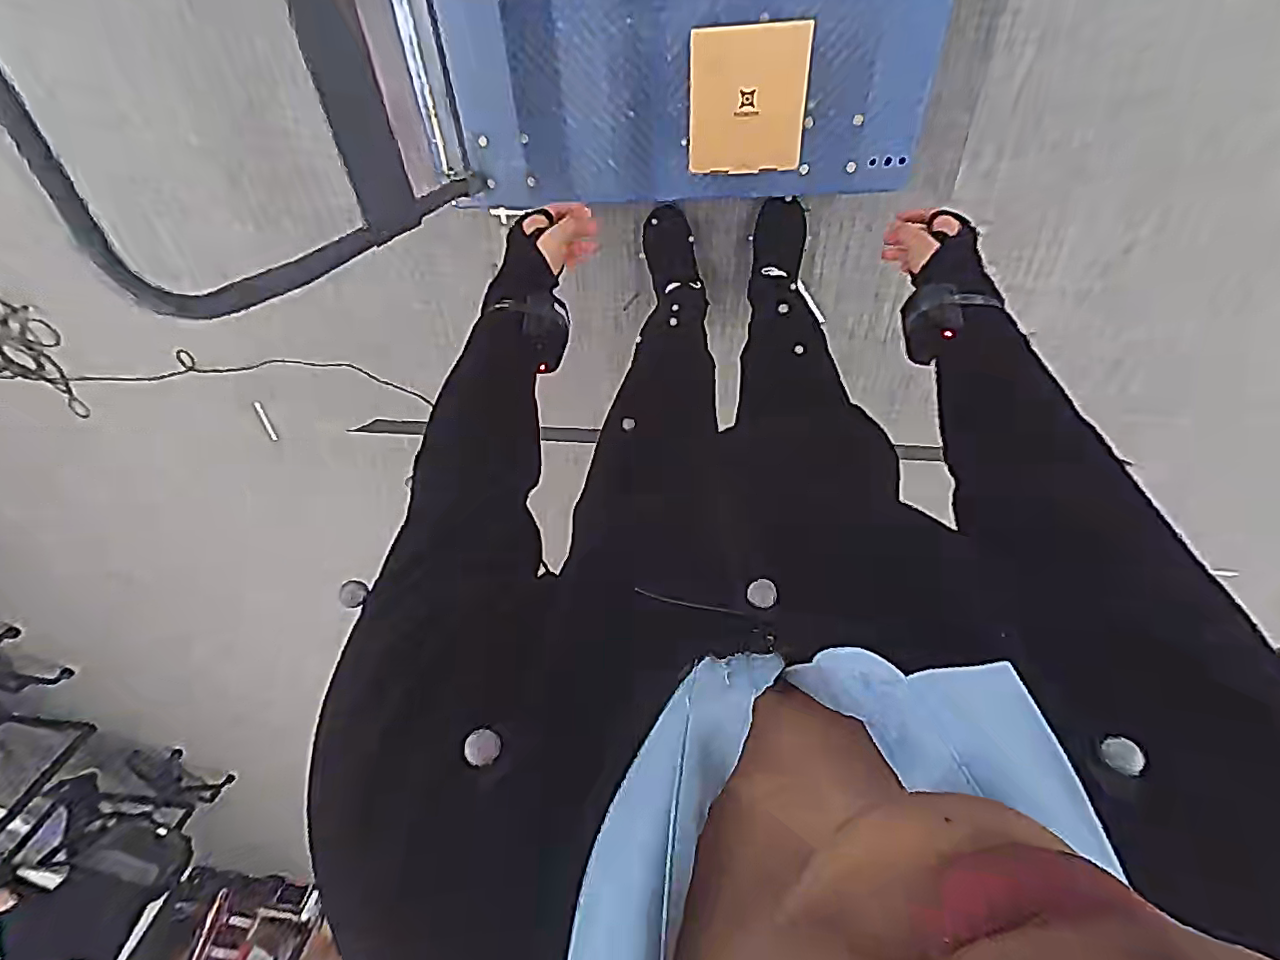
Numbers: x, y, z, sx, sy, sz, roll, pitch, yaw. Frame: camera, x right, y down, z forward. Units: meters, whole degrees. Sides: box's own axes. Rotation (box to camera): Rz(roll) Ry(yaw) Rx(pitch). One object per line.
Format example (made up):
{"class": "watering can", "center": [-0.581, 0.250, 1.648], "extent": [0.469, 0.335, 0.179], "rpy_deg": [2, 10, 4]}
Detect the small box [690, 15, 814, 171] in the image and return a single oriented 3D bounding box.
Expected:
{"class": "small box", "center": [0.161, -0.590, 0.831], "extent": [0.168, 0.176, 0.179], "rpy_deg": [1, 128, 7]}

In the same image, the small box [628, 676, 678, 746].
{"class": "small box", "center": [0.050, 0.863, 2.025], "extent": [0.168, 0.176, 0.179], "rpy_deg": [6, 128, 2]}
